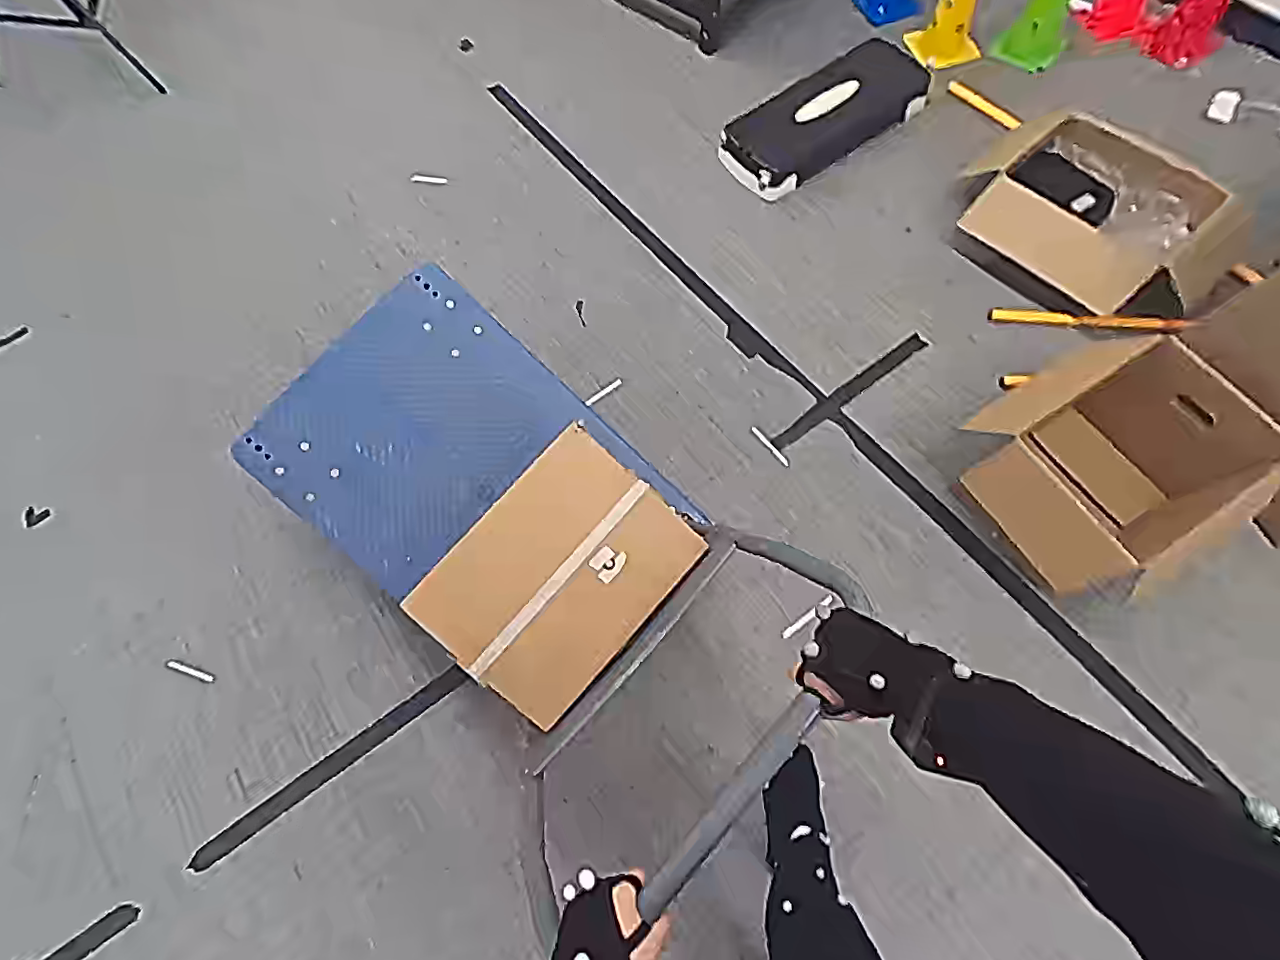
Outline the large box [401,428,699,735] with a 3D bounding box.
[{"bbox_3d":[-0.157,0.170,1.020,0.320,0.320,0.408,42,82,-5],"label":"large box"}]
